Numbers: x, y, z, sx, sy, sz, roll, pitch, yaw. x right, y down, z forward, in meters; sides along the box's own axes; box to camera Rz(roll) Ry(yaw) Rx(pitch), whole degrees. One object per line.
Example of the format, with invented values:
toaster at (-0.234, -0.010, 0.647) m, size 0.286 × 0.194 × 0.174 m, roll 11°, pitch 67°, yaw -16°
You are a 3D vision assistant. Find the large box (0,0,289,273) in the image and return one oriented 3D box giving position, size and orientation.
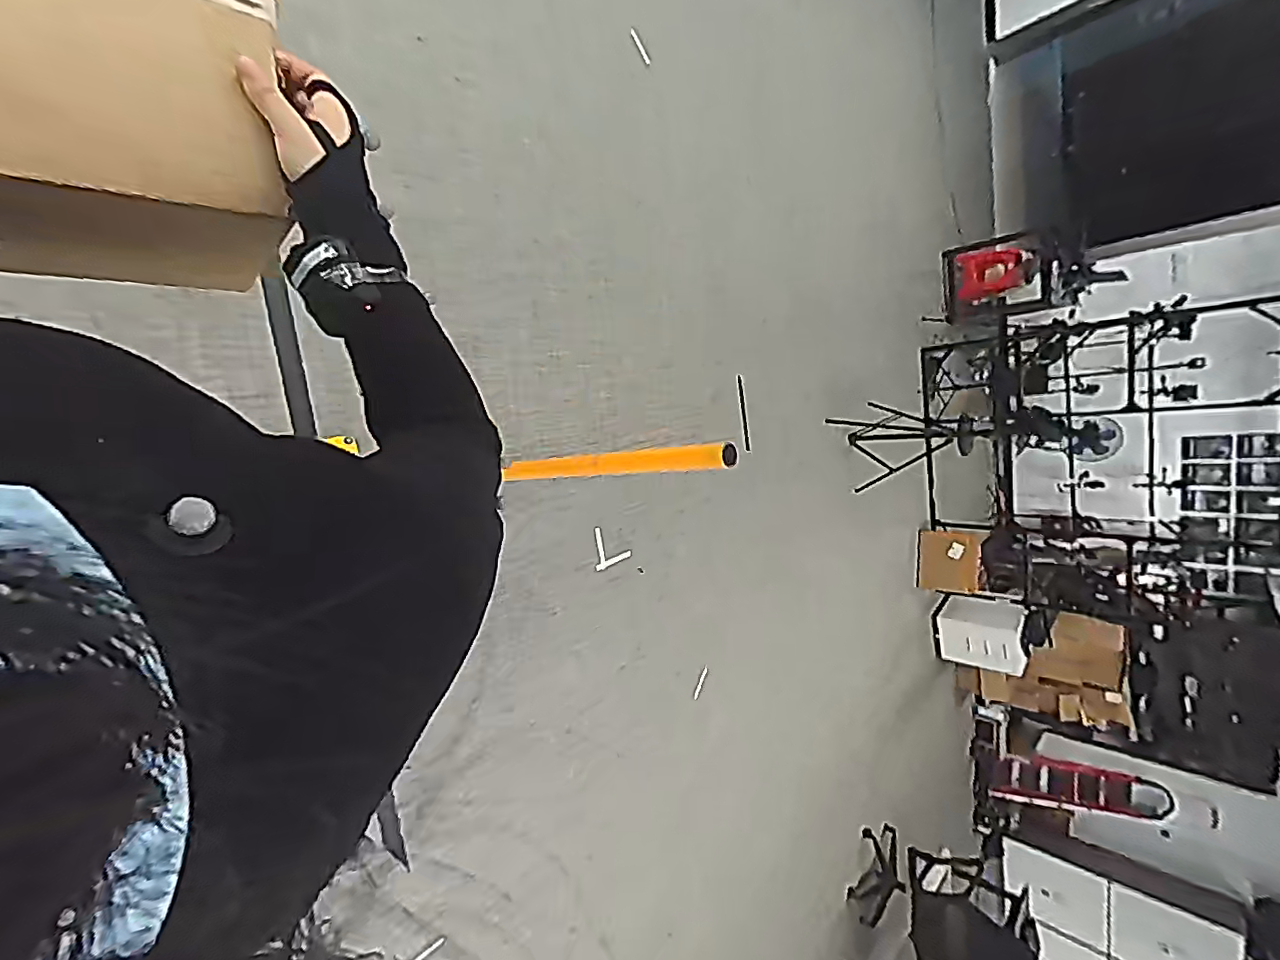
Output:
large box at (-0.545, -0.363, 0.411) m, size 0.408 × 0.320 × 0.320 m, roll -9°, pitch 100°, yaw -41°
